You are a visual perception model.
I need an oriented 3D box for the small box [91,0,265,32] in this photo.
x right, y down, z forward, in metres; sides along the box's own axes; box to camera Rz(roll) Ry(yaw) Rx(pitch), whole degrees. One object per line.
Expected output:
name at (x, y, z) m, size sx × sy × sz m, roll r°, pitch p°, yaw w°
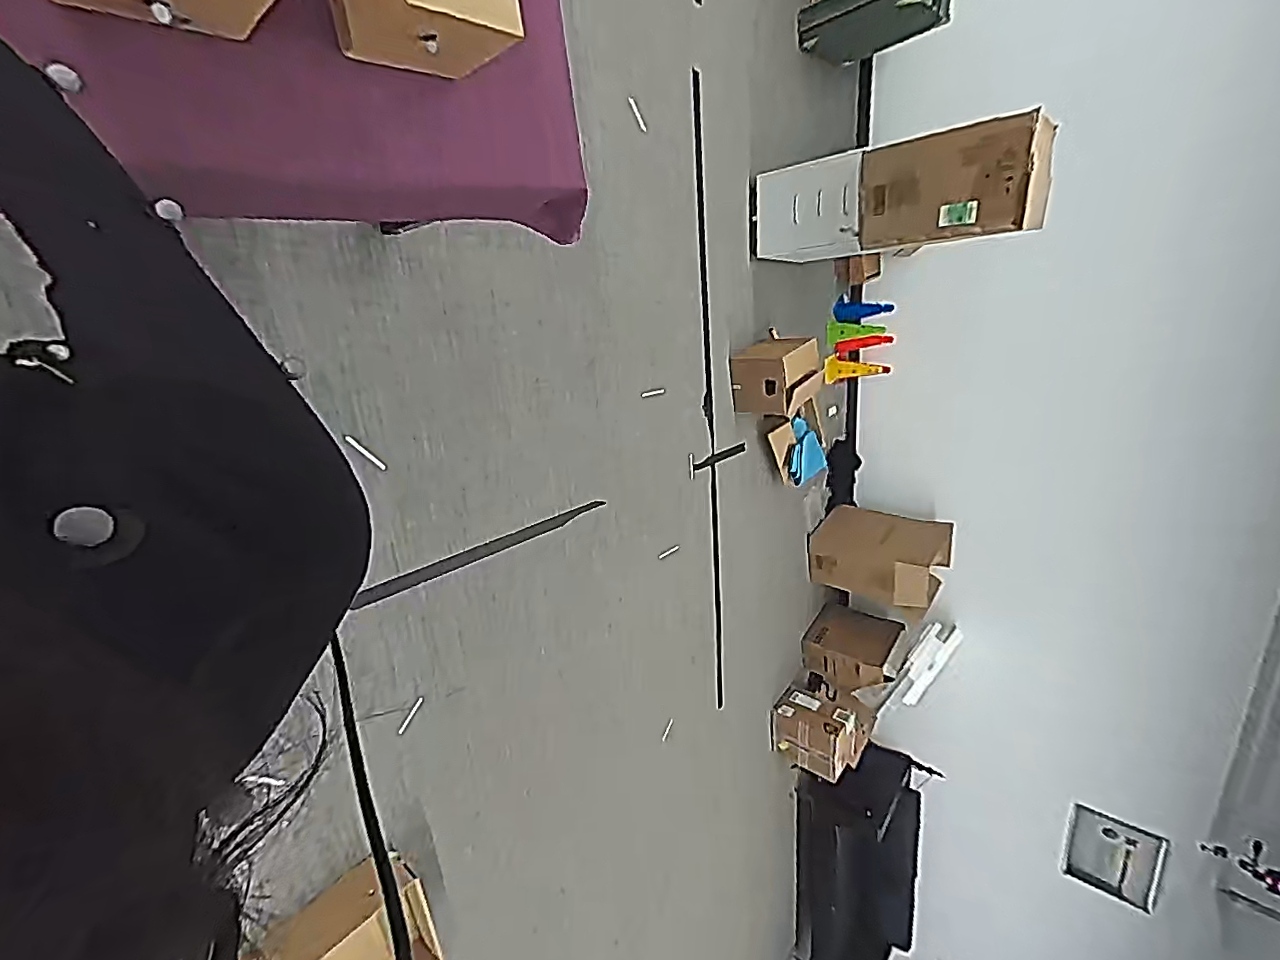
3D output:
small box at (-0.460, -0.560, 0.490) m, size 0.168 × 0.176 × 0.179 m, roll -27°, pitch 118°, yaw -44°

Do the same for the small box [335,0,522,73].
small box at (-0.282, -0.653, 0.687) m, size 0.179 × 0.176 × 0.168 m, roll -27°, pitch 118°, yaw -43°
